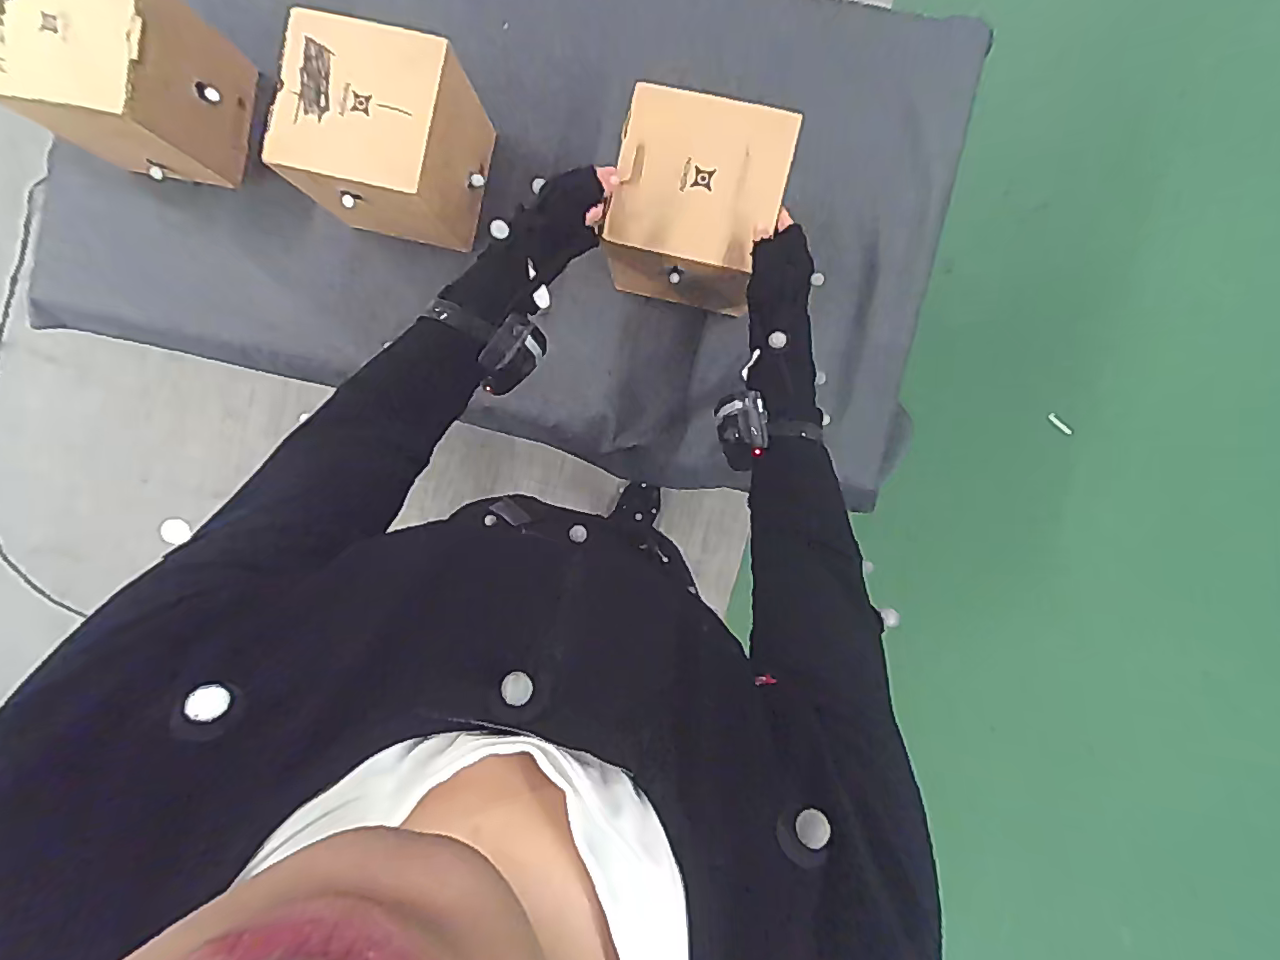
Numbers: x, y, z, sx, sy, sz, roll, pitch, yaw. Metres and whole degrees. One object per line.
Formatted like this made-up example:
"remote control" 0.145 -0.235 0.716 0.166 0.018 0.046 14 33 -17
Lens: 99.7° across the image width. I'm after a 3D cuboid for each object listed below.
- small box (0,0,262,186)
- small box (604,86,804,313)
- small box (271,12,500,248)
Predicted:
"small box" -0.614 -0.493 0.669 0.179 0.176 0.168 11 93 2
"small box" 0.069 -0.310 0.635 0.179 0.176 0.168 13 93 3
"small box" -0.292 -0.404 0.655 0.179 0.176 0.168 13 93 2
